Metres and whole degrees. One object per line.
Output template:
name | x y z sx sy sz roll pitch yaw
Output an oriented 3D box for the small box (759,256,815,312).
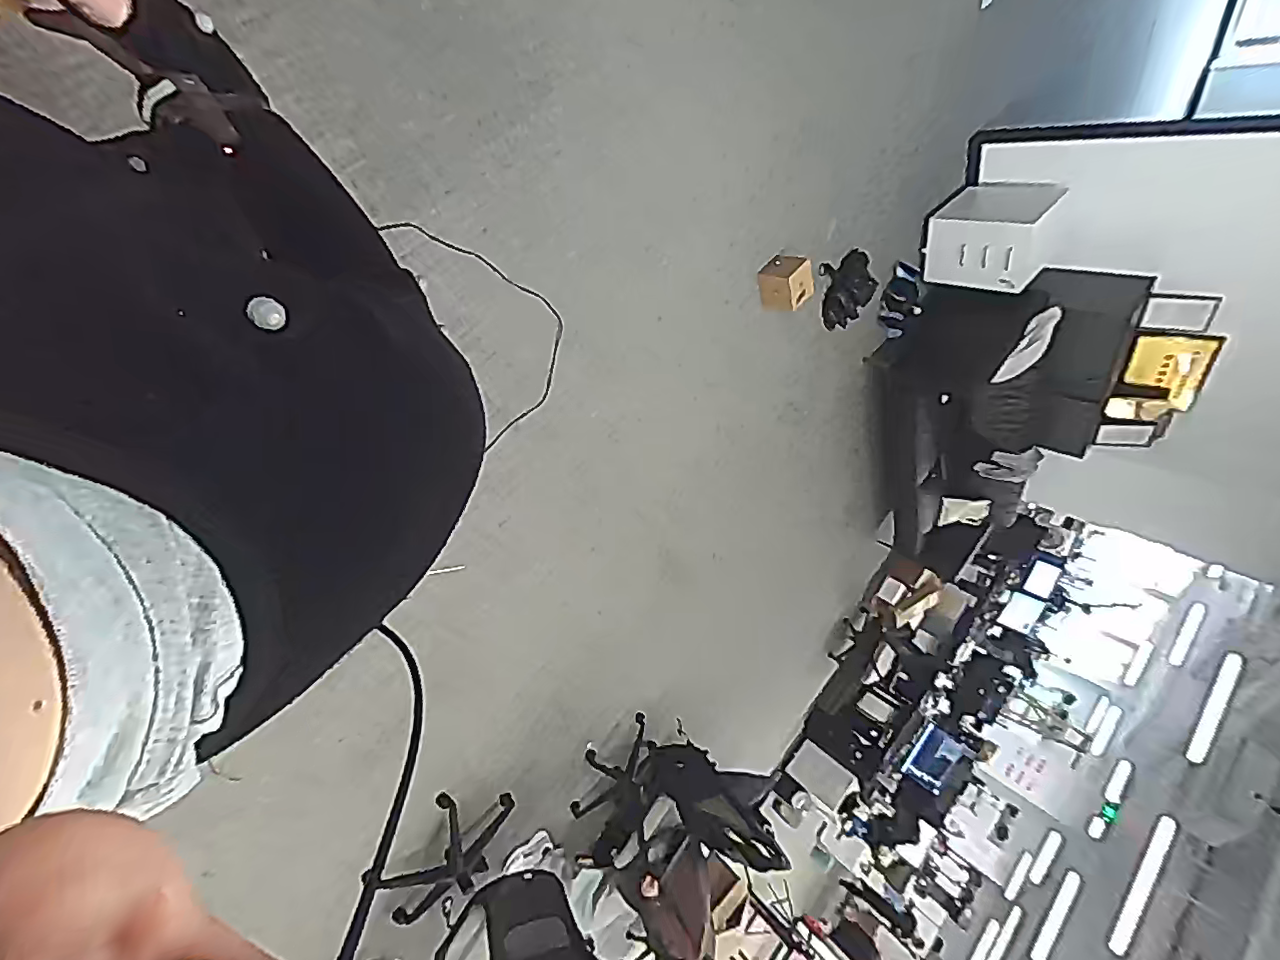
small box | 0.667 -0.896 2.454 0.168 0.176 0.179 -45 136 -18
